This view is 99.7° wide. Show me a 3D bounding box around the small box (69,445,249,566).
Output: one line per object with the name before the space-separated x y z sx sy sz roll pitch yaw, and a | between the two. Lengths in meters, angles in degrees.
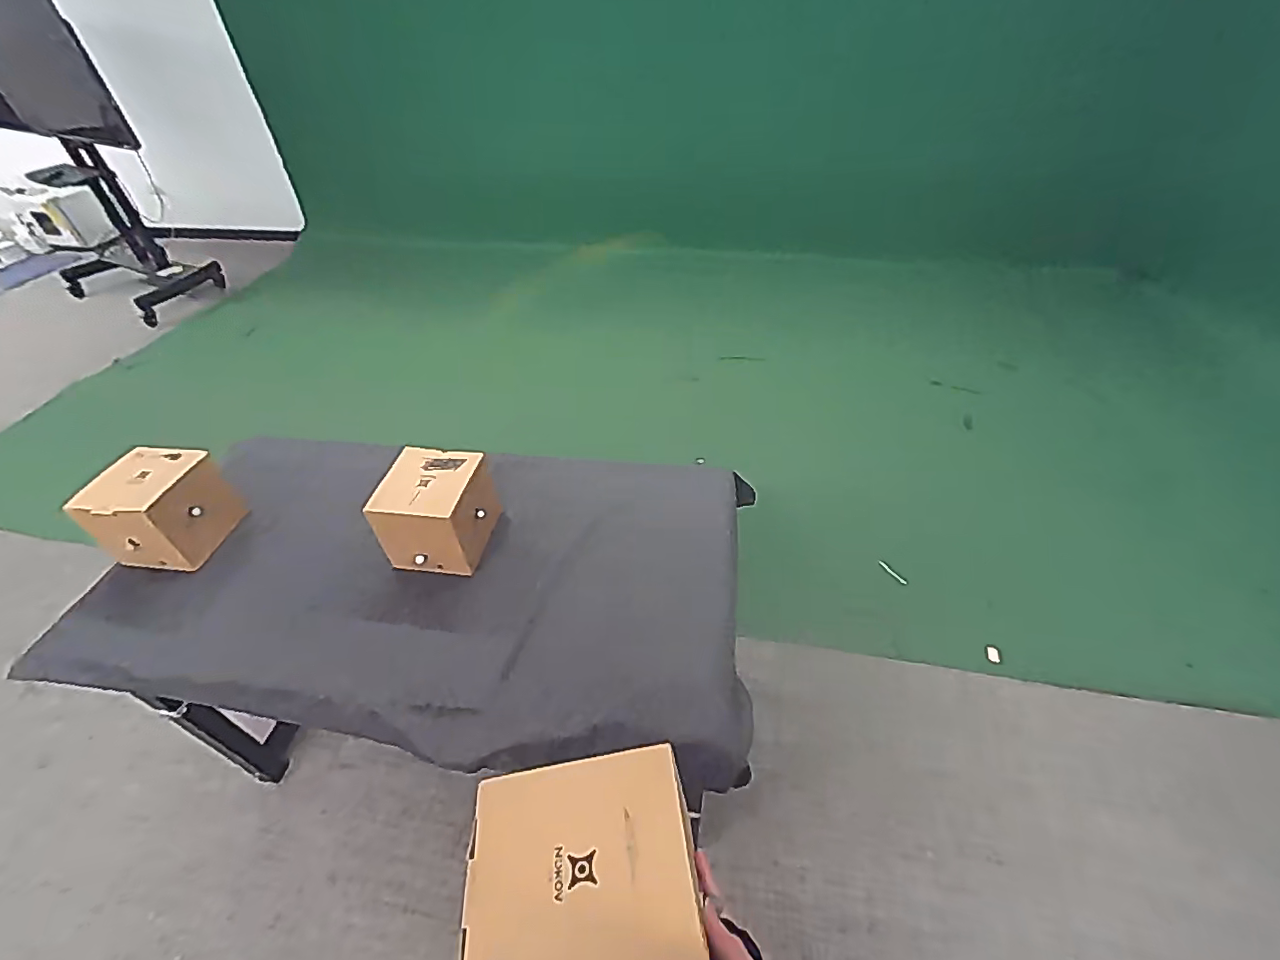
small box | -0.939 0.053 1.081 0.168 0.176 0.179 4 44 5

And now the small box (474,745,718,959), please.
small box | -0.032 0.367 0.478 0.179 0.176 0.168 -11 41 -1

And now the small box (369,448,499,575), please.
small box | -0.388 0.061 1.059 0.168 0.176 0.179 5 45 7
